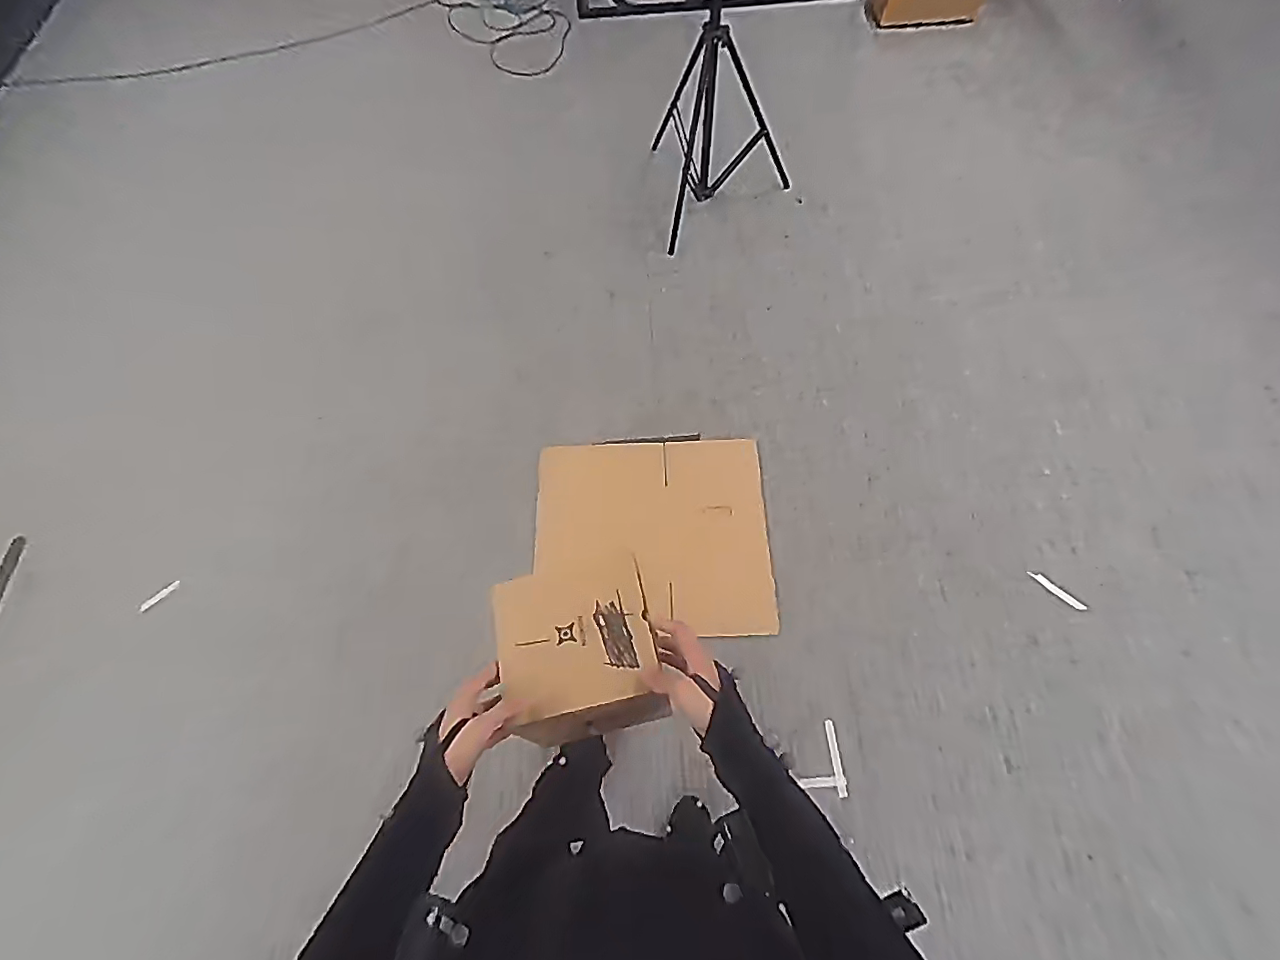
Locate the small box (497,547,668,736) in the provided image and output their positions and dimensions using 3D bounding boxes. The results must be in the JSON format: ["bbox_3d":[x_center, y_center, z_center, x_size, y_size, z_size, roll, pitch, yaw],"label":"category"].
[{"bbox_3d":[-0.064,0.207,0.677,0.179,0.176,0.168,-14,57,-1],"label":"small box"}]
